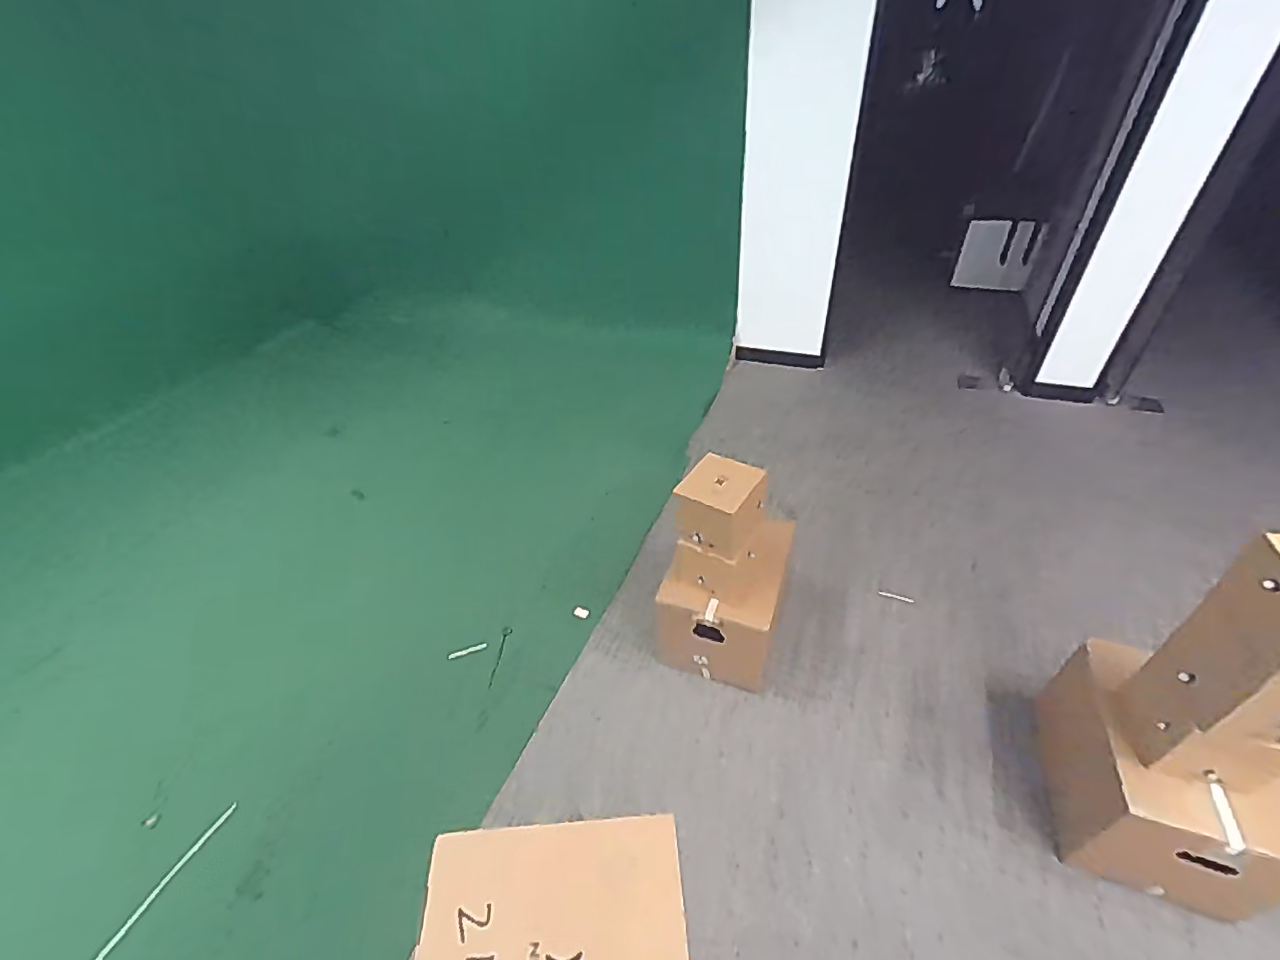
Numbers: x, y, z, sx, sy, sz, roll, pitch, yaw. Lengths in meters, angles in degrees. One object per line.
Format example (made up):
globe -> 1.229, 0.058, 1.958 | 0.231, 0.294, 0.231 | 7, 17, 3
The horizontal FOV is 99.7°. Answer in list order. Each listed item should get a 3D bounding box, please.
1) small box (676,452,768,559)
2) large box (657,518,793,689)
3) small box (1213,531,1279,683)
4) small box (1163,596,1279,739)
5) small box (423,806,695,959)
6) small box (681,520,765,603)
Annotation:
small box -> 0.206, 0.064, 1.359 | 0.168, 0.176, 0.179 | 21, 48, 31
large box -> 0.267, 0.349, 1.645 | 0.320, 0.320, 0.408 | 11, 42, 19
small box -> 1.067, 0.205, 0.837 | 0.168, 0.176, 0.179 | 4, 42, 14
small box -> 1.083, 0.332, 0.942 | 0.168, 0.176, 0.179 | 5, 42, 14
small box -> -0.050, 0.359, 0.400 | 0.179, 0.176, 0.168 | -4, 45, -1
small box -> 0.222, 0.194, 1.455 | 0.168, 0.176, 0.179 | 19, 46, 28
